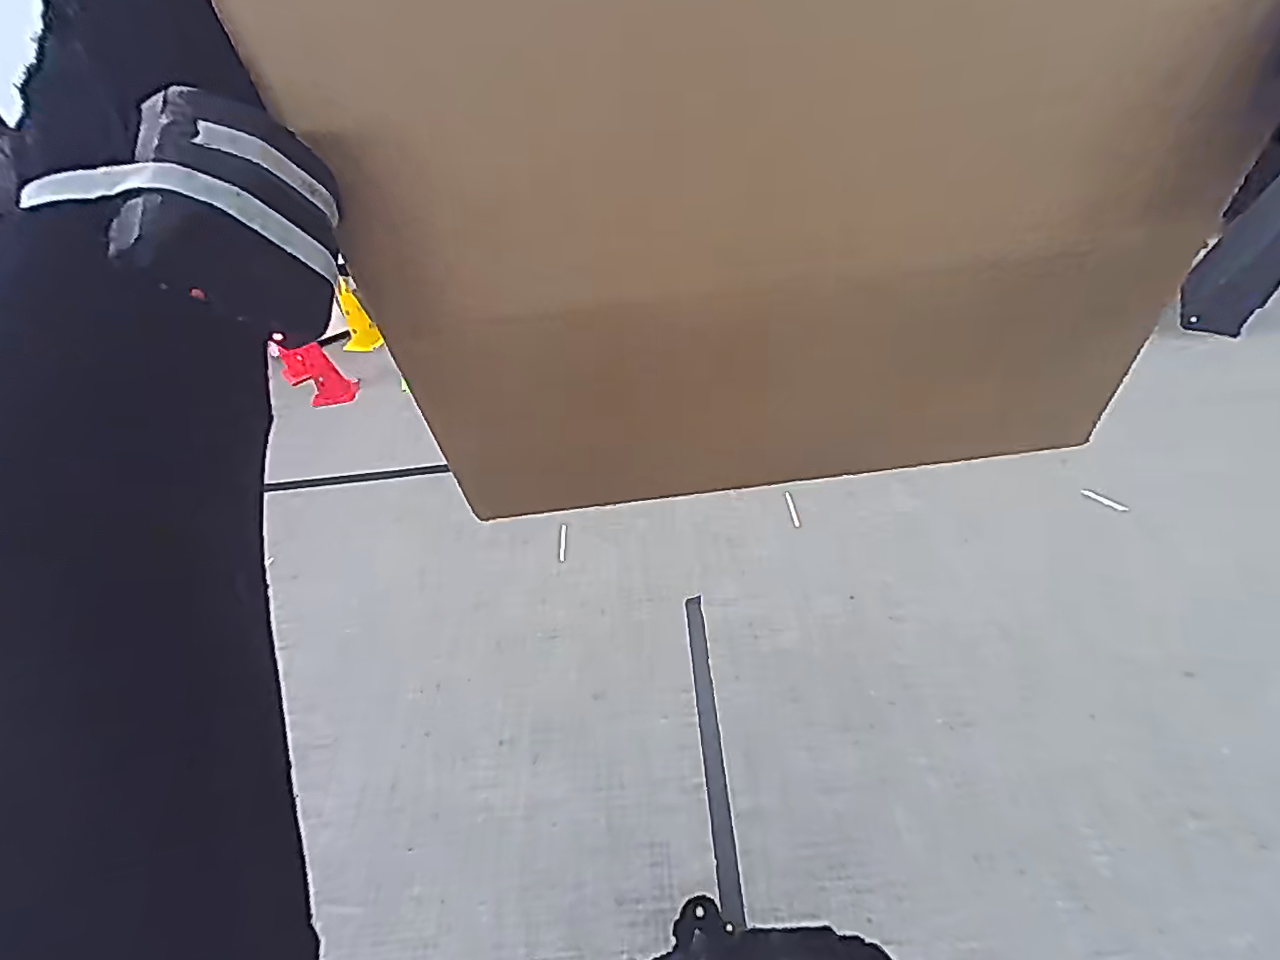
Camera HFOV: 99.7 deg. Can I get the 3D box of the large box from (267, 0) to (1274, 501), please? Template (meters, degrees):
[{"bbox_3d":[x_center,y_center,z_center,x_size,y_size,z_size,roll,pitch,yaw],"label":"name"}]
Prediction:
[{"bbox_3d":[0.058,-0.217,0.377,0.408,0.320,0.320,-7,45,1],"label":"large box"}]
